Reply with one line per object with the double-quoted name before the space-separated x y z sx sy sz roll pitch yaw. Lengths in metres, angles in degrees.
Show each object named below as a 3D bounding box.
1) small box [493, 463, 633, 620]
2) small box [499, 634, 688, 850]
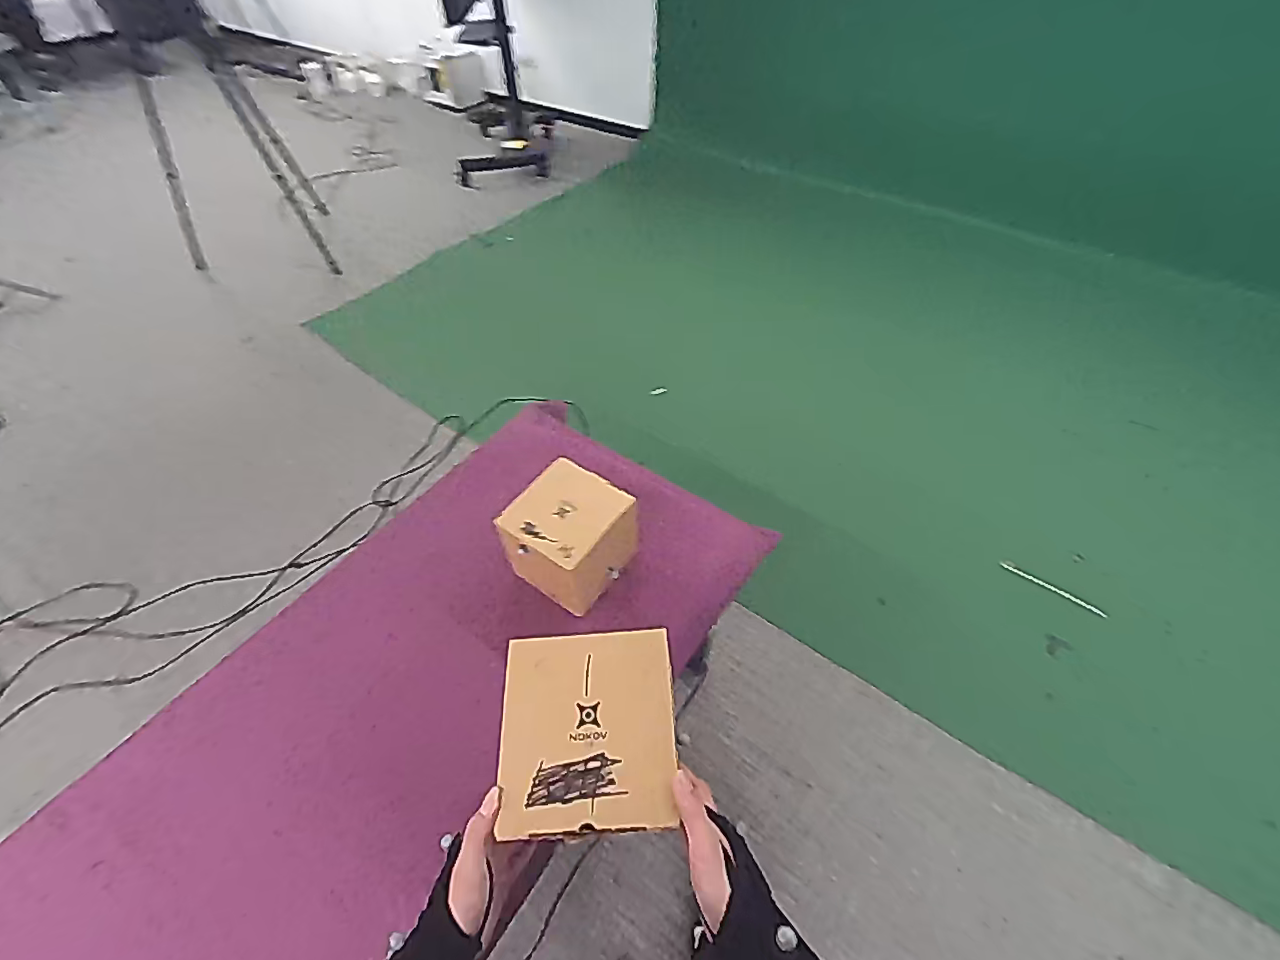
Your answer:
"small box" -0.128 0.109 0.953 0.168 0.176 0.179 28 56 22
"small box" -0.038 0.278 0.569 0.168 0.176 0.179 -4 56 1
